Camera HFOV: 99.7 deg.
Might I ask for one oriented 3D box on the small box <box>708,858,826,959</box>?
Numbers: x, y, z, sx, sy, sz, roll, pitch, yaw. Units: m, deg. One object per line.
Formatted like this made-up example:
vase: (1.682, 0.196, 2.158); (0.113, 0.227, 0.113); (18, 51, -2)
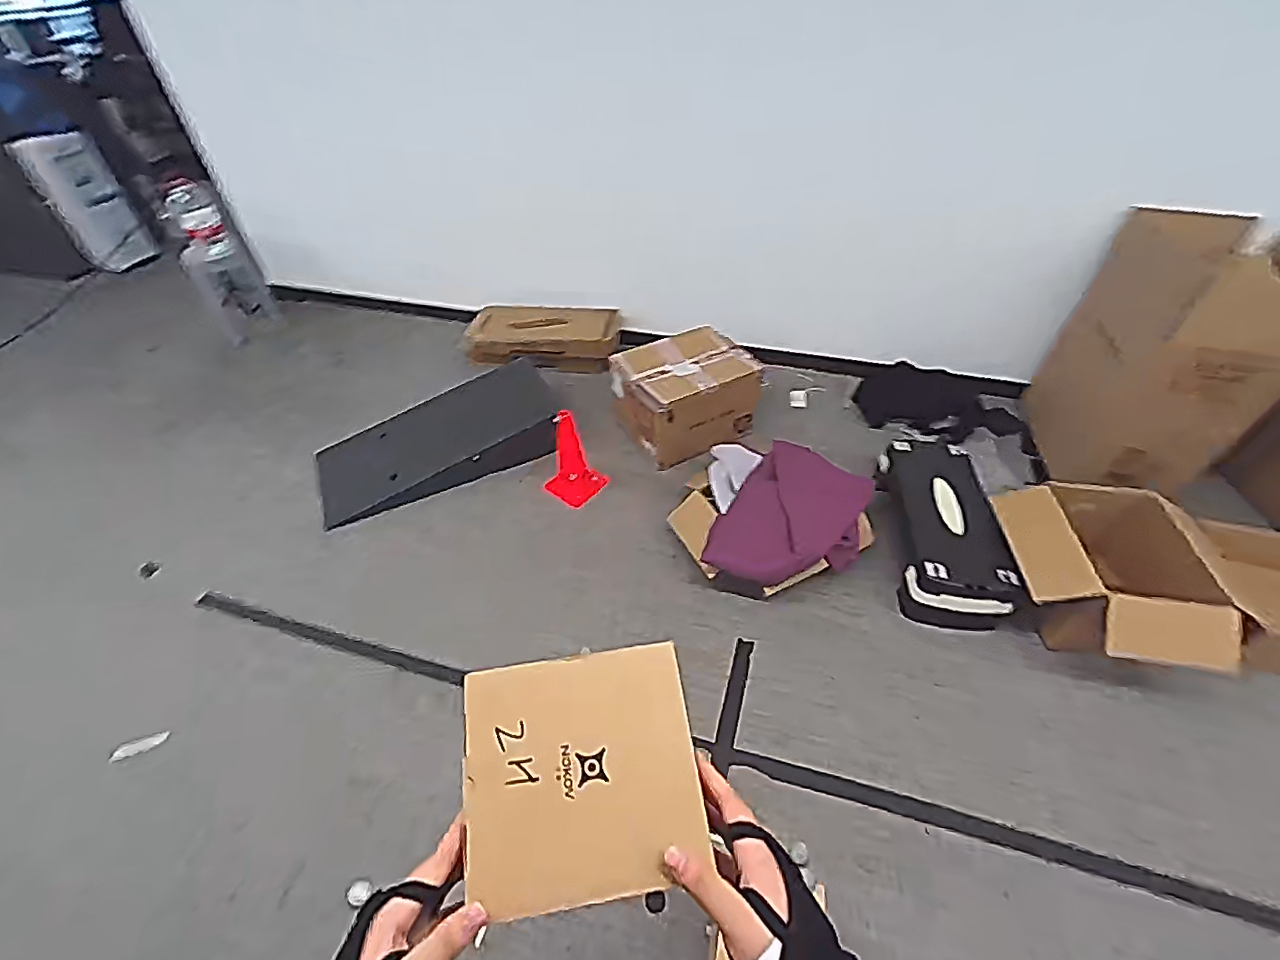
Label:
small box: (0.219, 0.808, 0.957); (0.179, 0.176, 0.168); (11, 46, 11)

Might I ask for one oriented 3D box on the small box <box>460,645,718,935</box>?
small box: (-0.047, 0.254, 0.467); (0.179, 0.176, 0.168); (-8, 60, -6)
